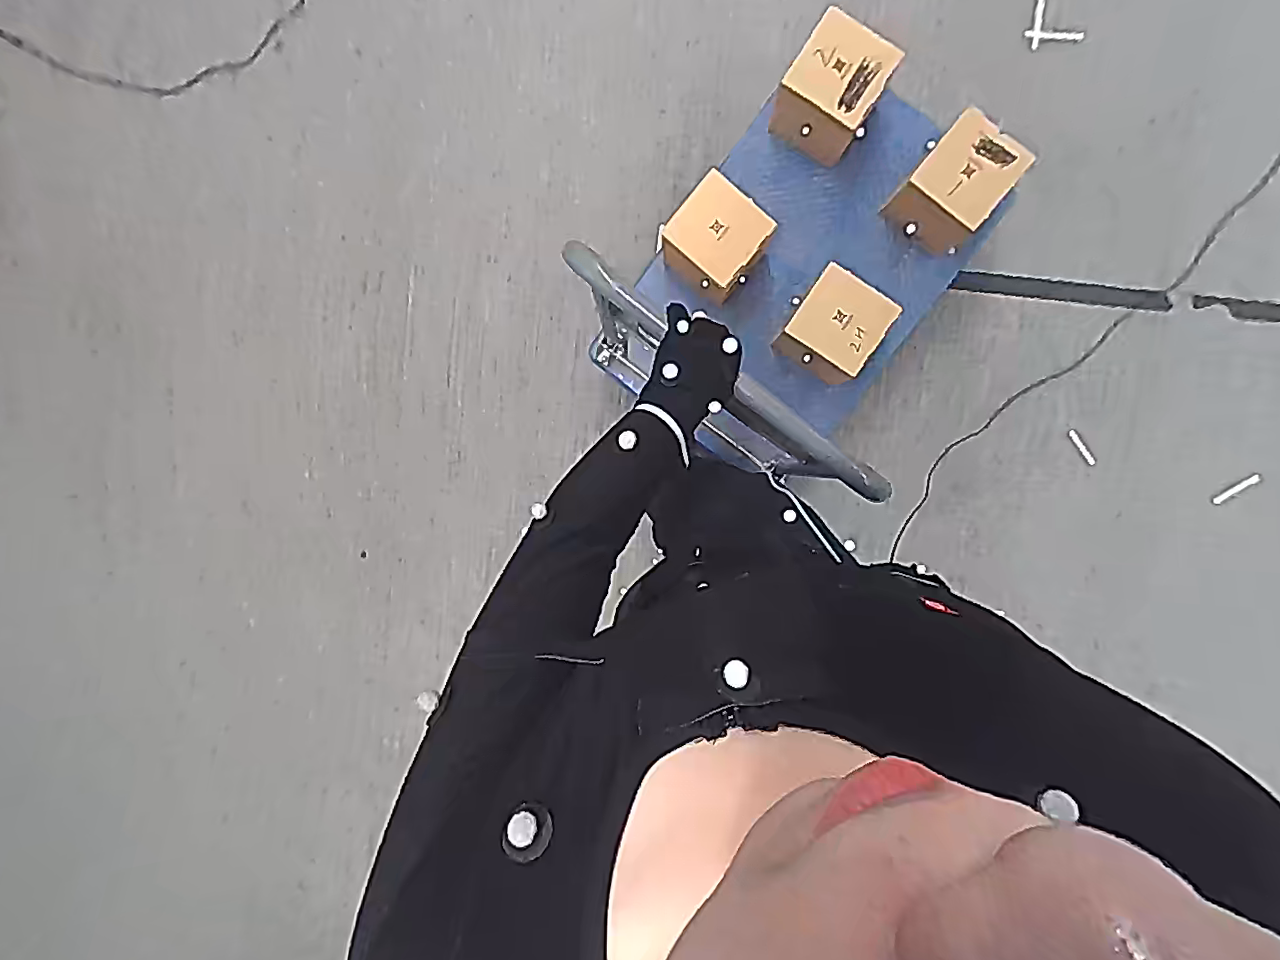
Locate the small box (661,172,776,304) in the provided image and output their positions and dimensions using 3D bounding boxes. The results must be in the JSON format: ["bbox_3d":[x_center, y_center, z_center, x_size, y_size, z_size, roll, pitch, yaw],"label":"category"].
[{"bbox_3d":[0.160,-0.508,1.169,0.179,0.176,0.168,41,96,-2],"label":"small box"}]

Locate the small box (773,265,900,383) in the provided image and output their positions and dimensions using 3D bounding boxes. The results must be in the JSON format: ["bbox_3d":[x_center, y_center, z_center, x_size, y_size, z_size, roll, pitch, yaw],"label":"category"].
[{"bbox_3d":[0.410,-0.325,1.168,0.179,0.176,0.168,34,96,0],"label":"small box"}]

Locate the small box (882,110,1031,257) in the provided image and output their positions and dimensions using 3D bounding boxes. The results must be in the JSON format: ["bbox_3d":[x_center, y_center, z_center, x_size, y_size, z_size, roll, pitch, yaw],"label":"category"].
[{"bbox_3d":[0.644,-0.605,1.127,0.168,0.176,0.179,39,98,0],"label":"small box"}]
